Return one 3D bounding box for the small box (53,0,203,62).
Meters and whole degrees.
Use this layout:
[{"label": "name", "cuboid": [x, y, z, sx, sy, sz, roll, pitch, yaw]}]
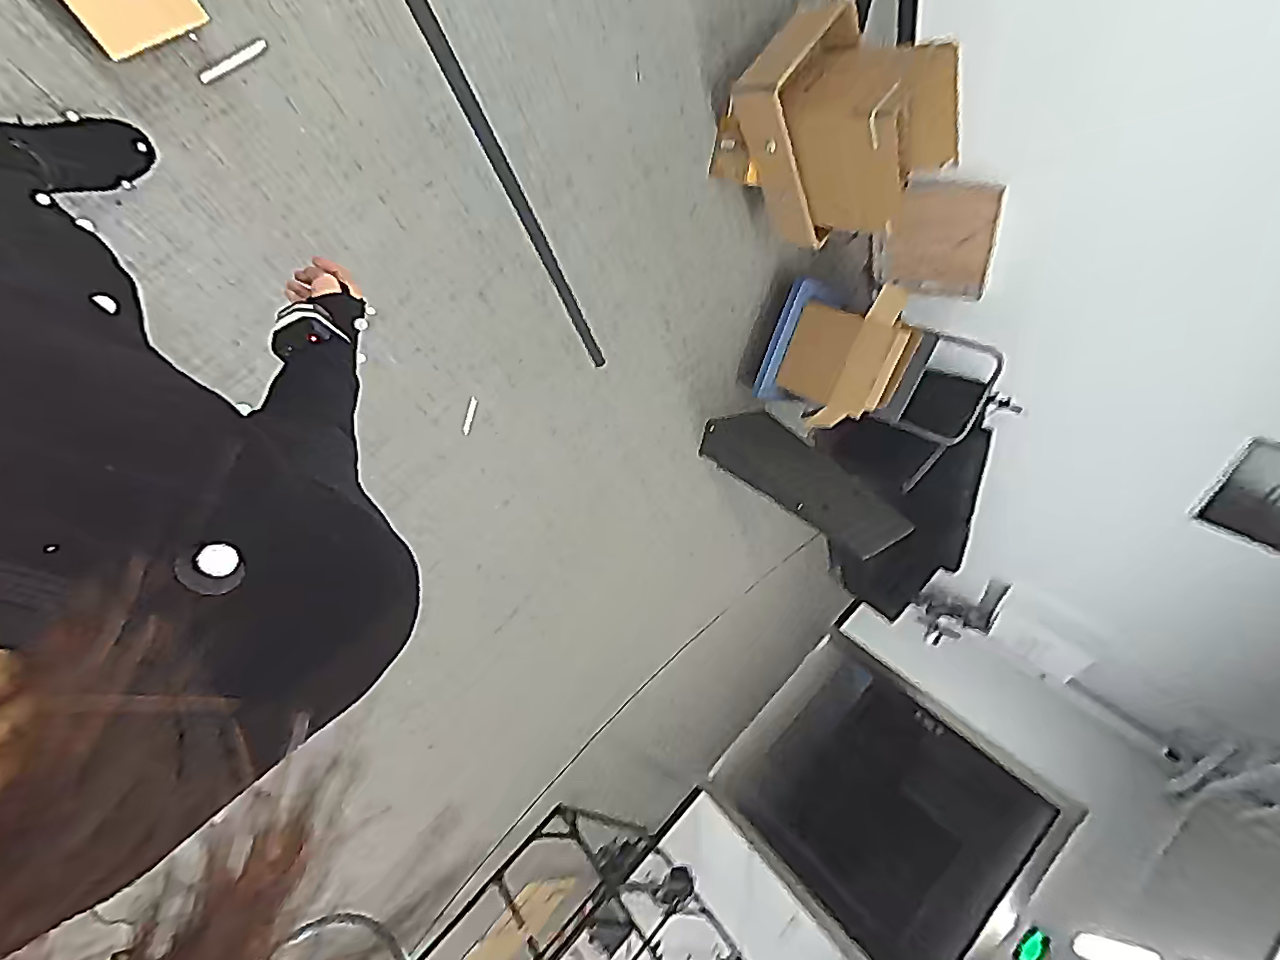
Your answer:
[{"label": "small box", "cuboid": [-0.901, -0.840, 0.920, 0.179, 0.176, 0.168, -42, 141, -16]}]
